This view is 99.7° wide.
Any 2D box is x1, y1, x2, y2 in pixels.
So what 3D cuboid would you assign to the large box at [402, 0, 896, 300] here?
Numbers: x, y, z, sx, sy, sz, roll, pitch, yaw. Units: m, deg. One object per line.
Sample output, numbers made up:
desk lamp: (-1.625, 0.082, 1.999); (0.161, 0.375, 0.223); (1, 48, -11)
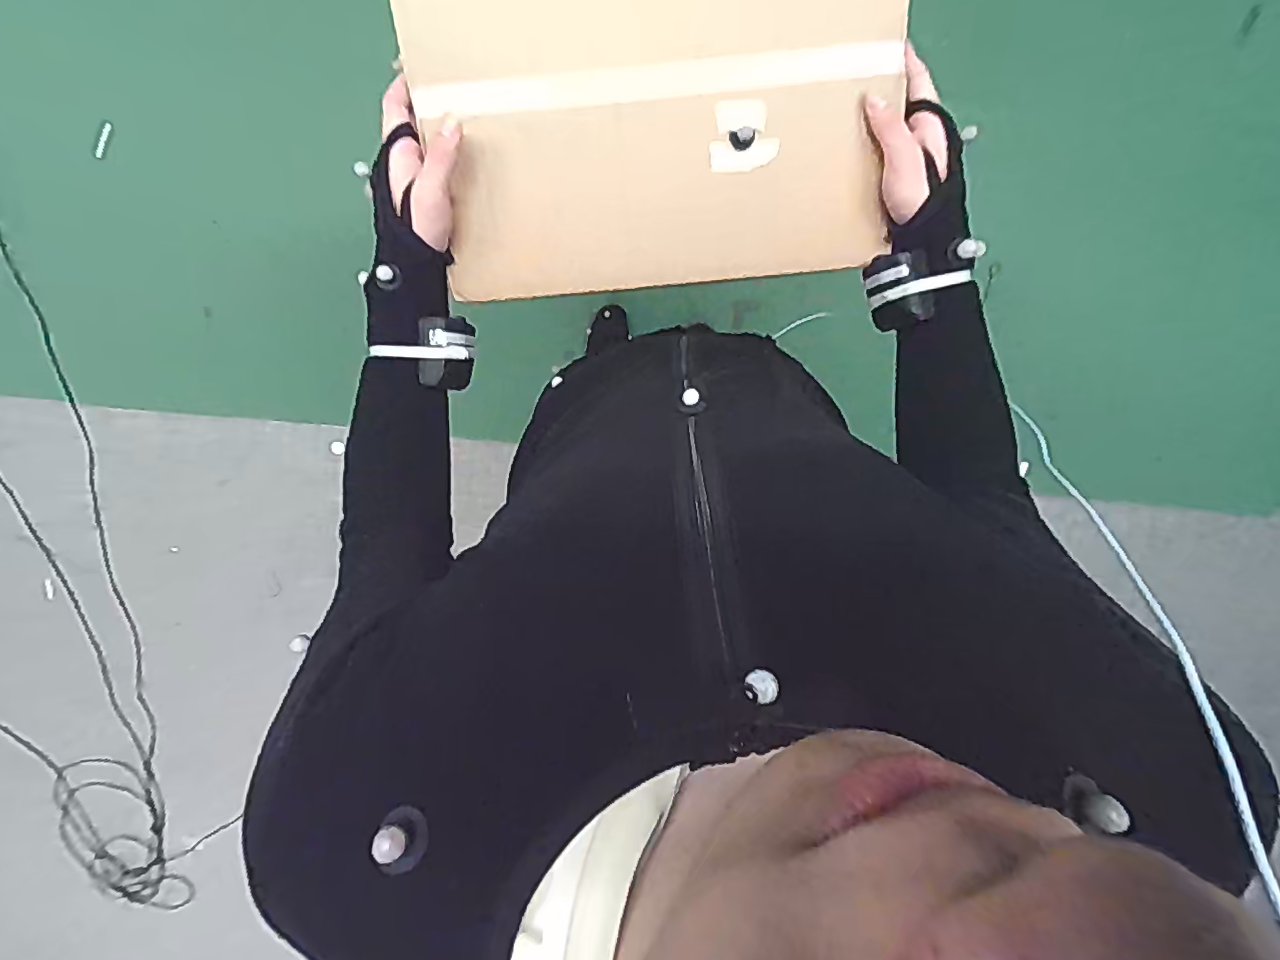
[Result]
large box: (0.006, -0.383, 0.594); (0.408, 0.320, 0.320); (-6, 111, -1)
